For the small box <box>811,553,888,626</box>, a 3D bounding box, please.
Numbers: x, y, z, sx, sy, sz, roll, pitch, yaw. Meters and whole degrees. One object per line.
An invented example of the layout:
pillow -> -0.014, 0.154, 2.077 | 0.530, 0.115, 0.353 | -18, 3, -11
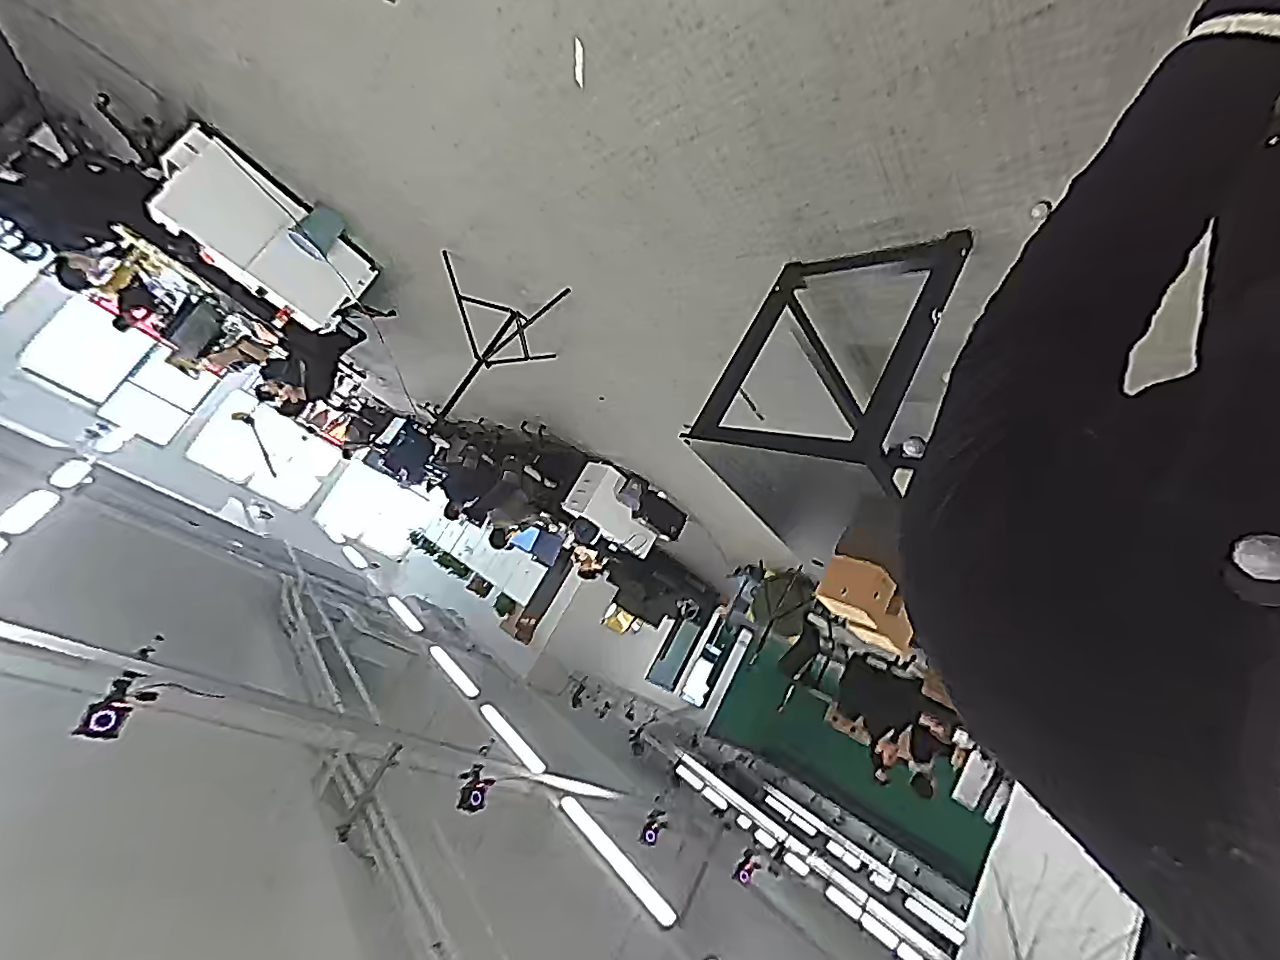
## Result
small box -> 0.726, 0.371, 1.854 | 0.179, 0.176, 0.168 | 15, 159, 50

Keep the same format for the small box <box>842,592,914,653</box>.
small box -> 0.887, 0.510, 2.008 | 0.168, 0.176, 0.179 | 13, 158, 51
